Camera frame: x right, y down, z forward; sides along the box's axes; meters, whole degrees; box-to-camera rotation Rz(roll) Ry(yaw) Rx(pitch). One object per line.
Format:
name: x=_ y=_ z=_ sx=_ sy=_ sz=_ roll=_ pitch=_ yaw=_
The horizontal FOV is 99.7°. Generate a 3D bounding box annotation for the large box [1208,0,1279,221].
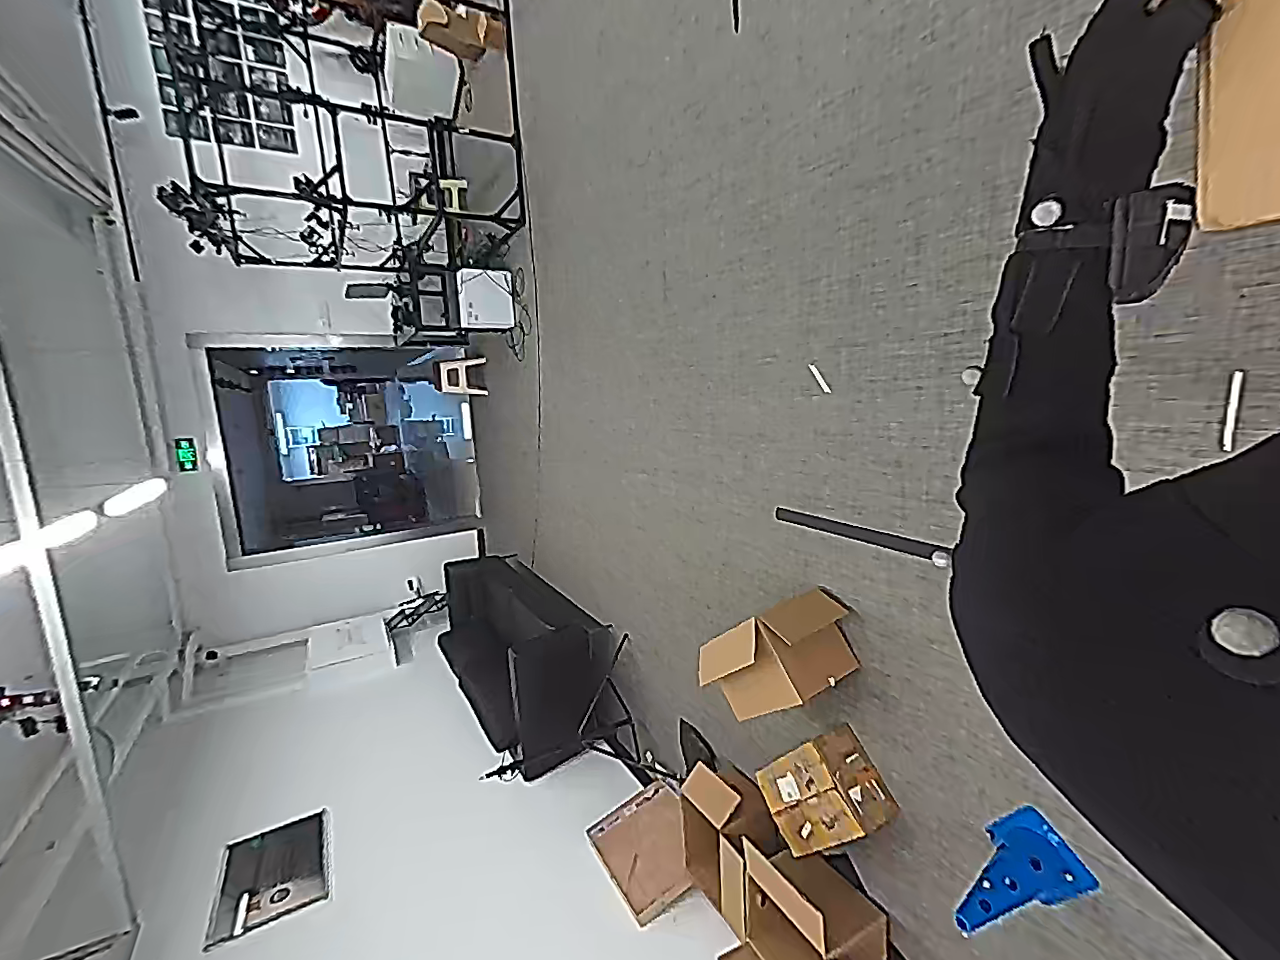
large box: x=0.537 y=-0.328 z=0.204 sx=0.408 sy=0.320 sz=0.320 roll=7 pitch=112 yaw=58
